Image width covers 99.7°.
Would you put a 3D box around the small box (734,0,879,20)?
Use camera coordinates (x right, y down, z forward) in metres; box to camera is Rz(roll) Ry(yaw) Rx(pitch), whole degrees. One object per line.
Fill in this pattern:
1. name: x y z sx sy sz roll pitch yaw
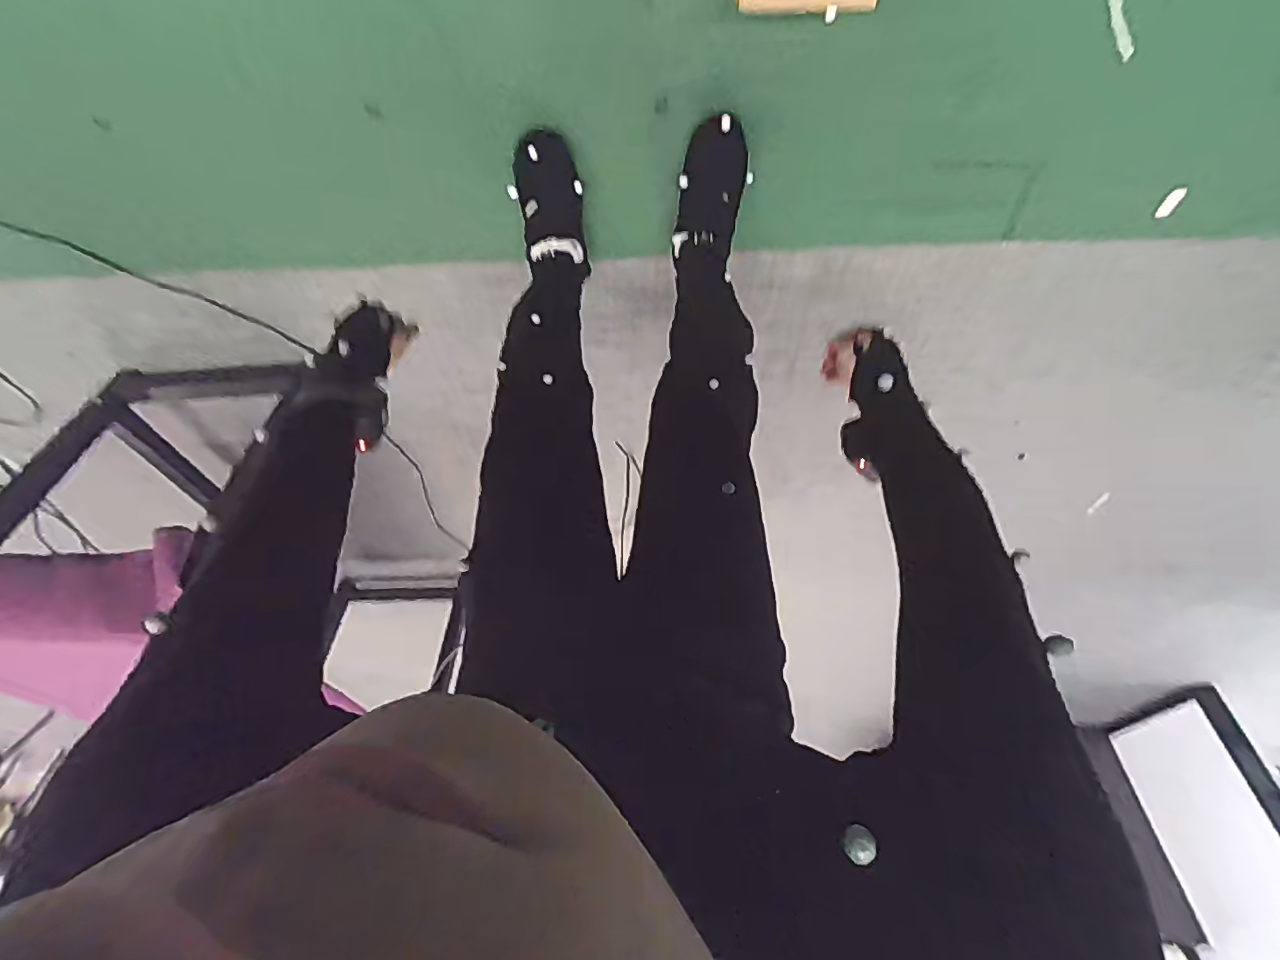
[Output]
1. small box: 0.216 -0.708 0.685 0.179 0.176 0.168 0 140 1
